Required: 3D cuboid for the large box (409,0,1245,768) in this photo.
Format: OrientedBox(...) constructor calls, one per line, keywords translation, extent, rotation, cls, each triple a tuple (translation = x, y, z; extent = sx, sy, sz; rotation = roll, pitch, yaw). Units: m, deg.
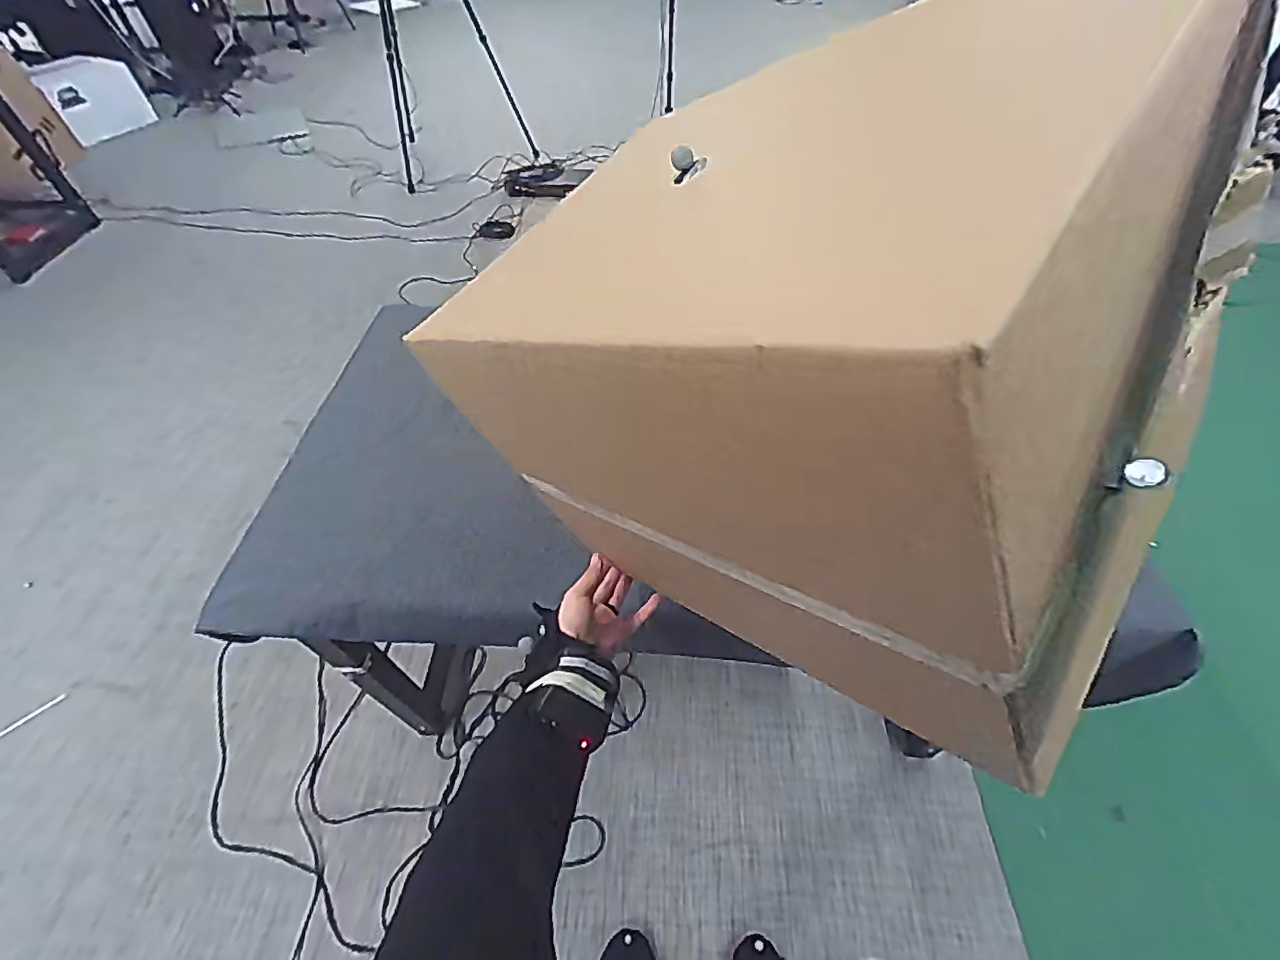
OrientedBox(translation=(0.107, -0.073, 0.405), extent=(0.408, 0.320, 0.320), rotation=(17, 61, 47), cls="large box")
